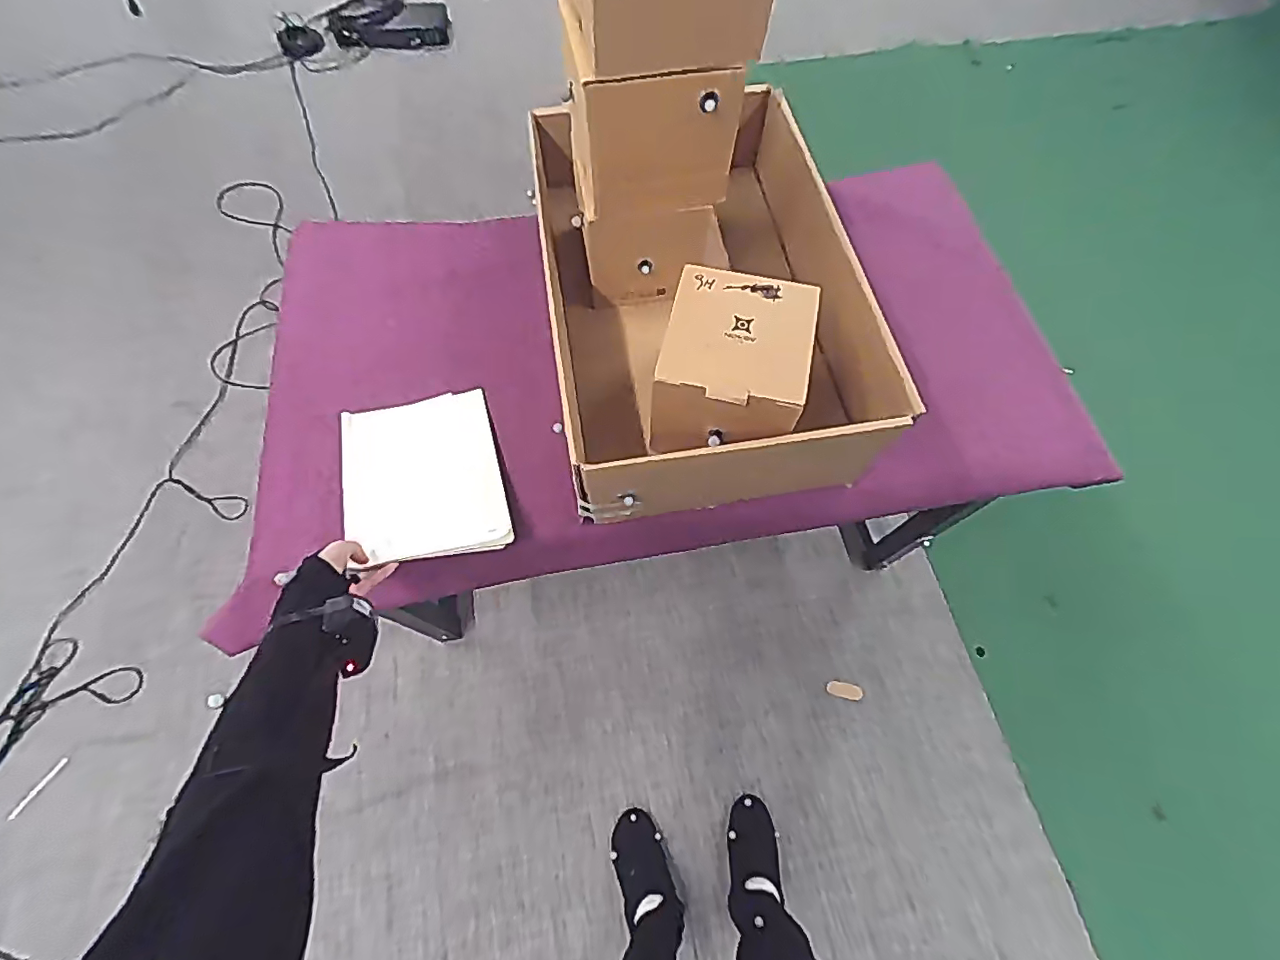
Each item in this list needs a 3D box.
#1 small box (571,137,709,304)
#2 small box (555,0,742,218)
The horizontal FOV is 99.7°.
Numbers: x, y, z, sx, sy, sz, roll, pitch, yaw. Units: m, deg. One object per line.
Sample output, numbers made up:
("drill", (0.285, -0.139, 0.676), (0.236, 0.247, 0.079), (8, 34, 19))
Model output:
("small box", (-0.003, -0.380, 0.797), (0.168, 0.176, 0.179), (-9, 68, -5))
("small box", (0.005, -0.442, 0.648), (0.179, 0.176, 0.168), (-11, 68, -6))
